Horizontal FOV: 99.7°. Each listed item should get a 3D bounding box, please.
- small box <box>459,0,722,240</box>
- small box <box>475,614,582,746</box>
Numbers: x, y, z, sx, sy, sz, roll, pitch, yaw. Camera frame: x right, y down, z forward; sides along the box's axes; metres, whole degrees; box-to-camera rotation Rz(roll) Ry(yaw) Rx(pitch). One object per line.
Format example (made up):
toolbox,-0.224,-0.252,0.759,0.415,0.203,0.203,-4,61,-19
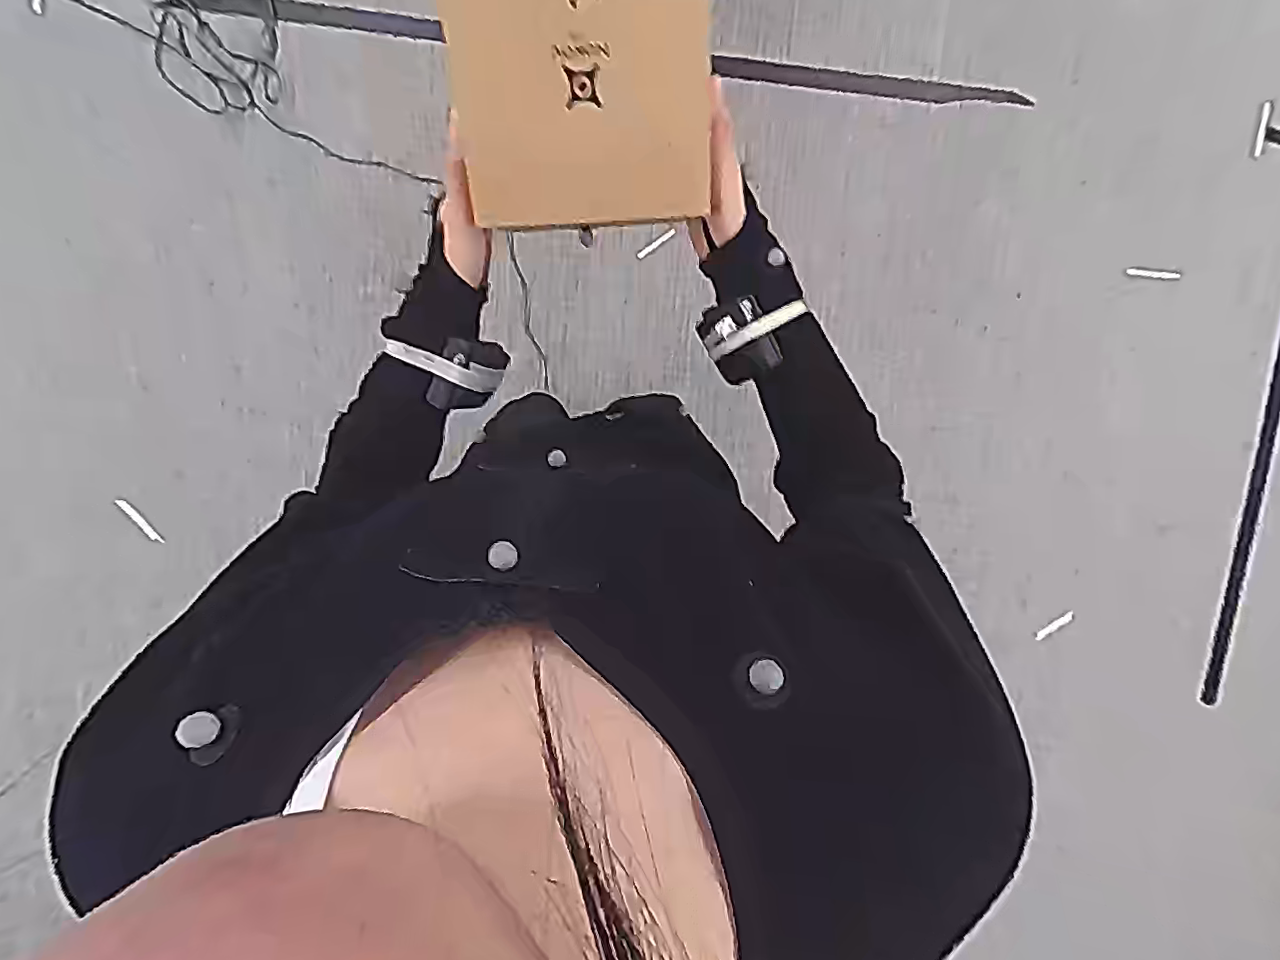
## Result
small box,-0.034,-0.288,0.426,0.168,0.176,0.179,-5,113,-4
small box,-0.196,0.355,0.987,0.168,0.176,0.179,2,97,-1
